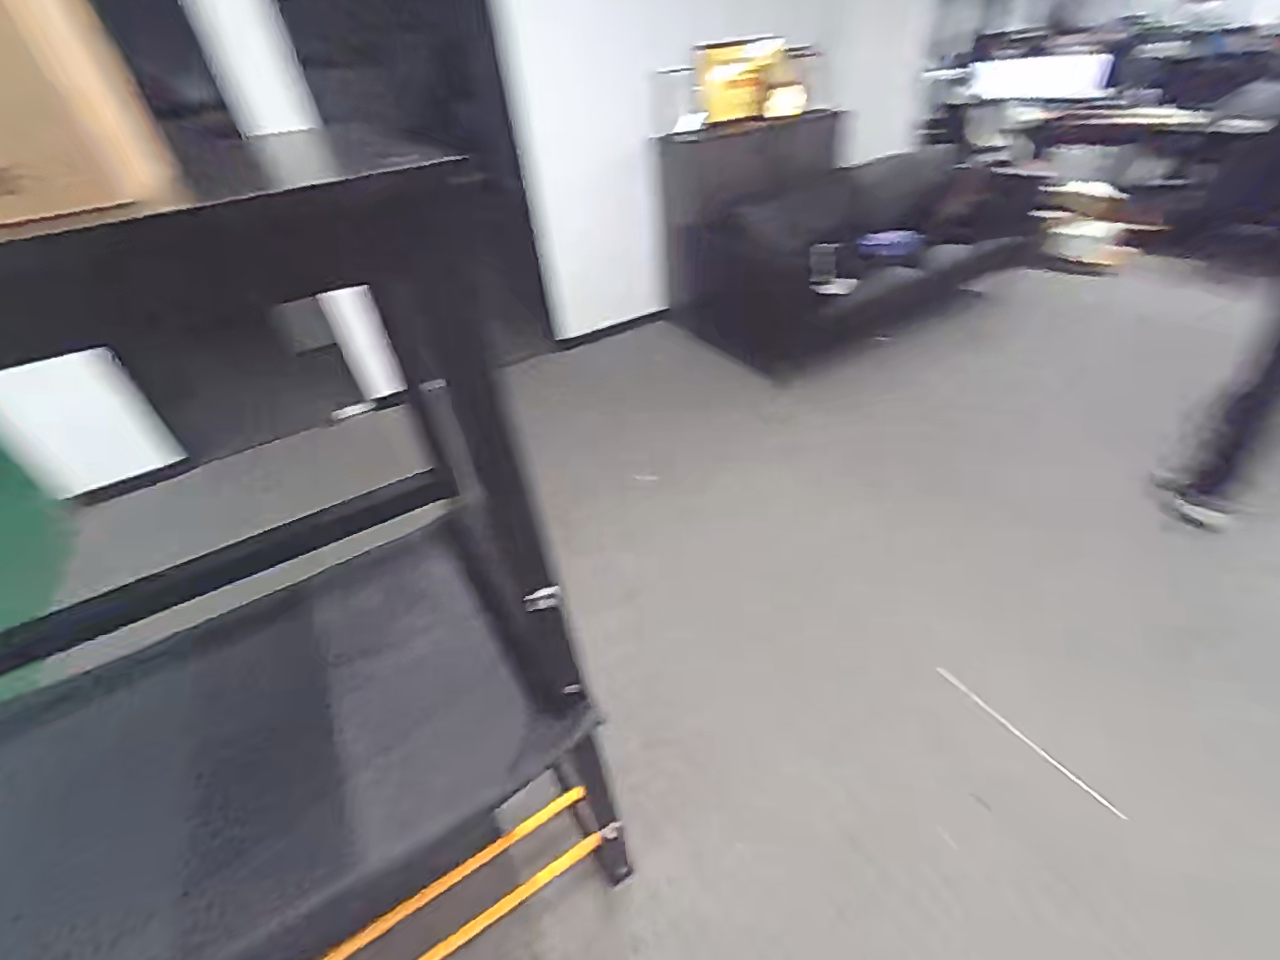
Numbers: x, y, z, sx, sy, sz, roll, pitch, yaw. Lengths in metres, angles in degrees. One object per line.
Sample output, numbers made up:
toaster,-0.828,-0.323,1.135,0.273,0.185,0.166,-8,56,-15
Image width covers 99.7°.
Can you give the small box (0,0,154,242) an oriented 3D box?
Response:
small box,-0.441,-0.240,0.323,0.168,0.176,0.179,-25,41,-22
